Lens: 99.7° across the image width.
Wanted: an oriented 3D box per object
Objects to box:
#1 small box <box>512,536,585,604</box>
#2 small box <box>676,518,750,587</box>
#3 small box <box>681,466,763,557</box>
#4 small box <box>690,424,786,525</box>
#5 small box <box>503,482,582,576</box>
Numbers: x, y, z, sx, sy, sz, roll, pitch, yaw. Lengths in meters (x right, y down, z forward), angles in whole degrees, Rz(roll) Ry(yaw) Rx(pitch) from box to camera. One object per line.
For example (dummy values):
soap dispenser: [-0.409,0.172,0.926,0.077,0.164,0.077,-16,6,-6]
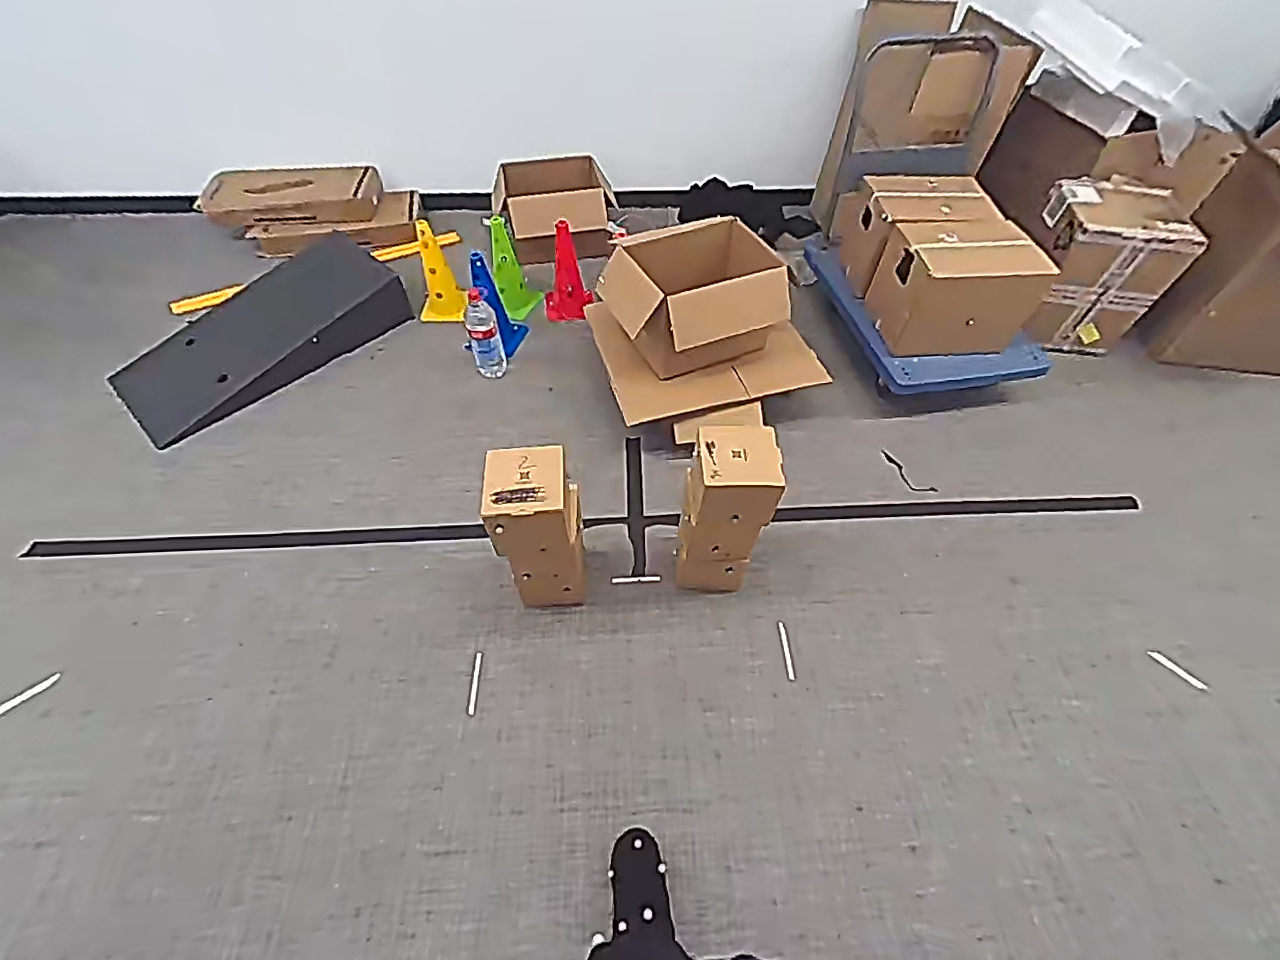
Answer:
small box: [-0.239,0.223,1.459,0.179,0.176,0.168,-4,53,-3]
small box: [0.196,0.187,1.494,0.179,0.176,0.168,2,53,-1]
small box: [0.199,0.081,1.371,0.168,0.176,0.179,-1,54,-3]
small box: [0.215,-0.009,1.234,0.179,0.176,0.168,1,55,-3]
small box: [-0.230,0.125,1.326,0.168,0.176,0.179,-1,52,-2]
